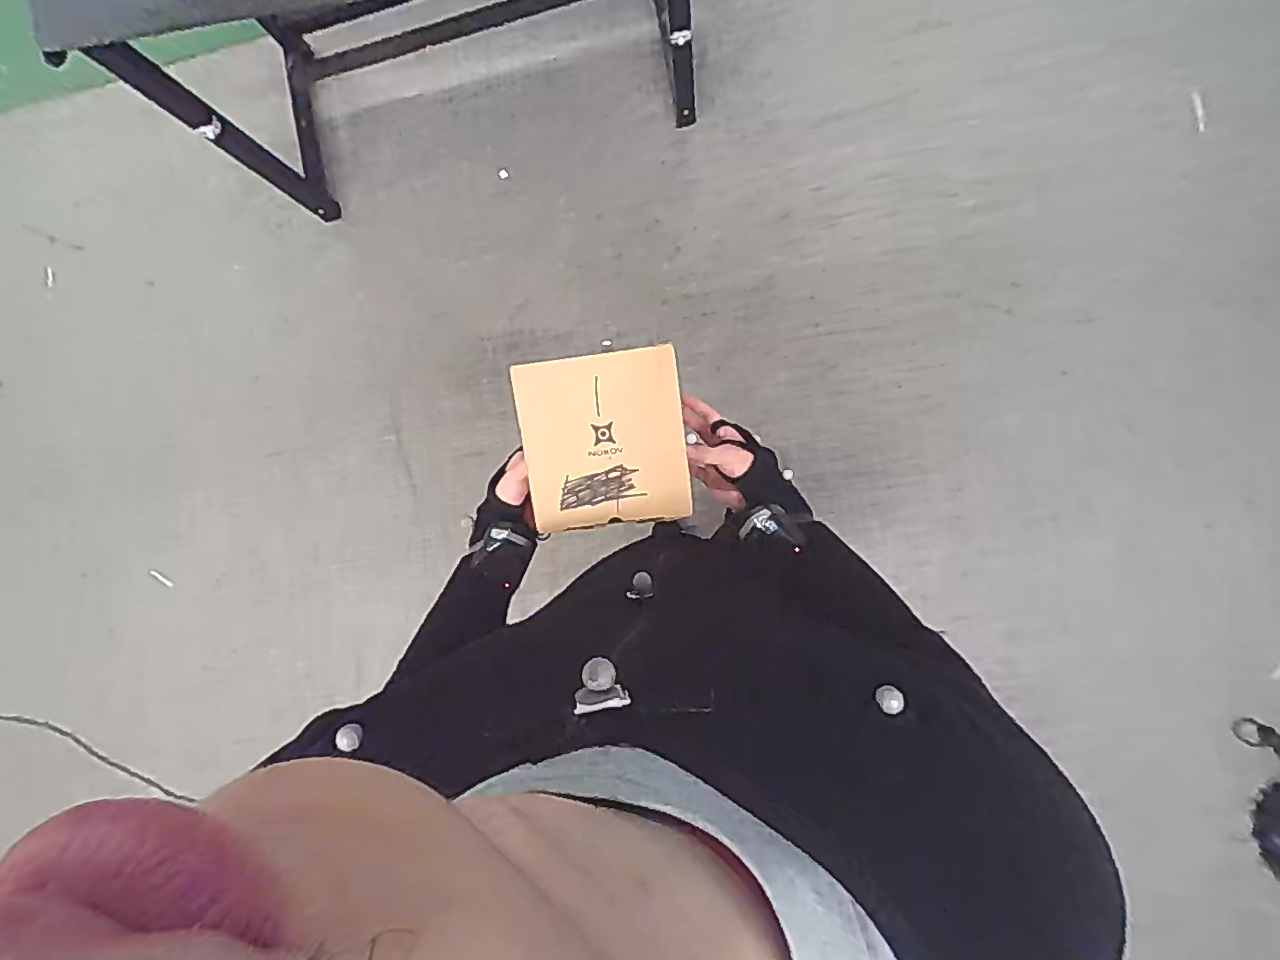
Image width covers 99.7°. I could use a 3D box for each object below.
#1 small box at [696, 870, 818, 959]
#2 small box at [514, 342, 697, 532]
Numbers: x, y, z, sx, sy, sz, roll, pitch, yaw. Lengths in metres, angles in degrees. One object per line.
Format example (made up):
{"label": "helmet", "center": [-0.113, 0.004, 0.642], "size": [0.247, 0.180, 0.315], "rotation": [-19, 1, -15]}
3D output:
{"label": "small box", "center": [0.190, 0.755, 0.832], "size": [0.168, 0.176, 0.179], "rotation": [-17, 88, 6]}
{"label": "small box", "center": [-0.028, -0.056, 0.618], "size": [0.168, 0.176, 0.179], "rotation": [-8, 100, 4]}
